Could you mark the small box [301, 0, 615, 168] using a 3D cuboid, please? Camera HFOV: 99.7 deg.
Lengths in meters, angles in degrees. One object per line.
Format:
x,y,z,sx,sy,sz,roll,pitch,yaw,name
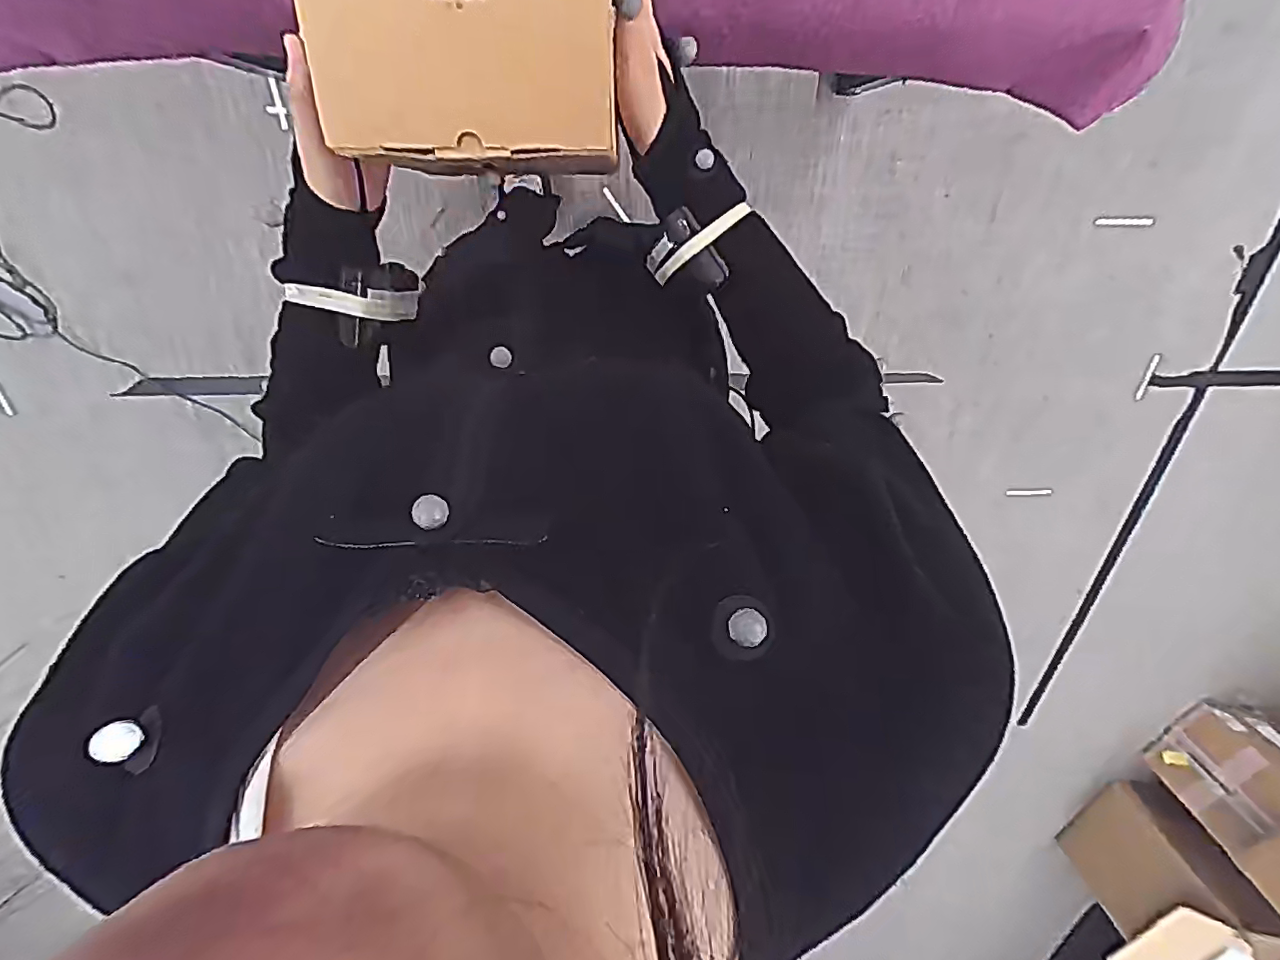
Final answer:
-0.100,-0.309,0.349,0.168,0.176,0.179,-1,118,-2,small box
